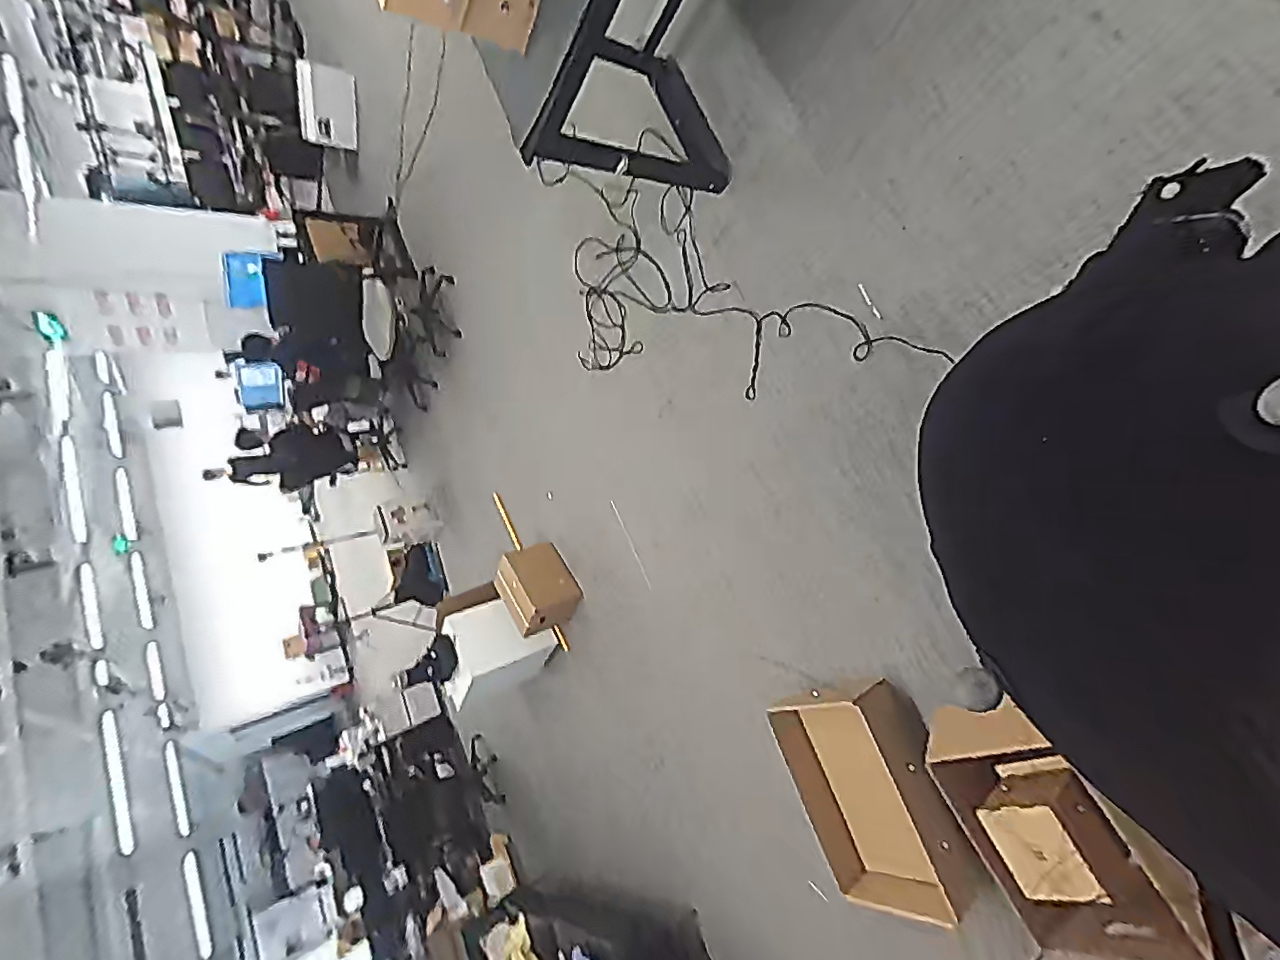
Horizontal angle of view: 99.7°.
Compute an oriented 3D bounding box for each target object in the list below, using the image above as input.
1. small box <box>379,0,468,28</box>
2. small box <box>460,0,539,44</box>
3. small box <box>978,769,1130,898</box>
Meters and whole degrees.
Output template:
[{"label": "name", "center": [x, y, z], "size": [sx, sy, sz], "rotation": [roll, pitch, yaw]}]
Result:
[{"label": "small box", "center": [-0.459, -1.106, 1.130], "size": [0.168, 0.176, 0.179], "rotation": [-33, 75, 50]}, {"label": "small box", "center": [-0.340, -1.147, 1.236], "size": [0.168, 0.176, 0.179], "rotation": [-44, 65, 46]}, {"label": "small box", "center": [0.870, 0.734, 1.140], "size": [0.168, 0.176, 0.179], "rotation": [-49, 60, 47]}]
